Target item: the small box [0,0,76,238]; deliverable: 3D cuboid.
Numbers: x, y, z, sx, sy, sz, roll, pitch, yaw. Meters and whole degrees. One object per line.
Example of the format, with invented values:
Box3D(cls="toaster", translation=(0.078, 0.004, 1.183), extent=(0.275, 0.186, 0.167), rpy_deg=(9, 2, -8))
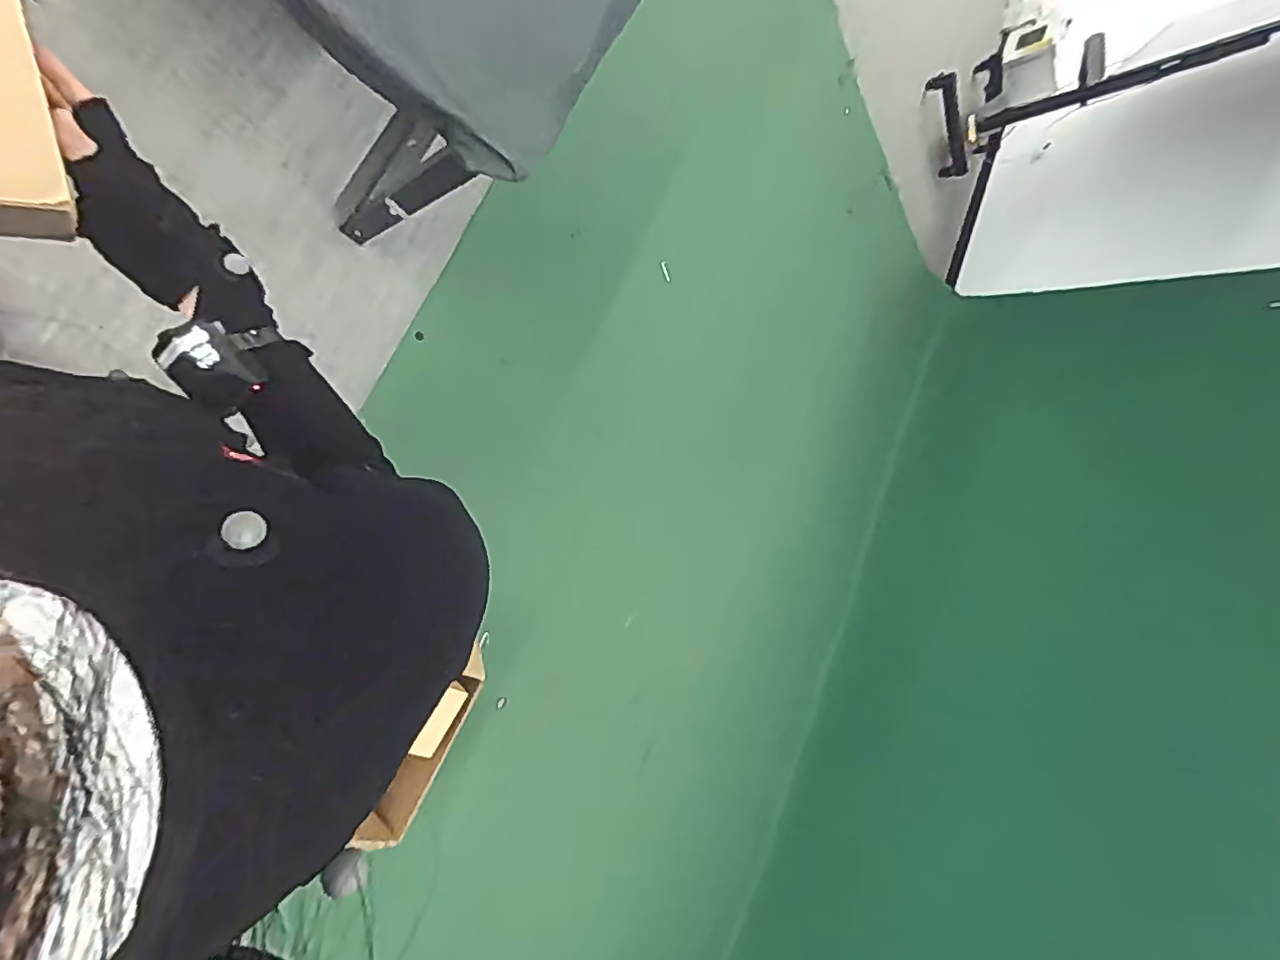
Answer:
Box3D(cls="small box", translation=(-0.452, -0.246, 0.298), extent=(0.168, 0.176, 0.179), rpy_deg=(-16, 112, -43))
